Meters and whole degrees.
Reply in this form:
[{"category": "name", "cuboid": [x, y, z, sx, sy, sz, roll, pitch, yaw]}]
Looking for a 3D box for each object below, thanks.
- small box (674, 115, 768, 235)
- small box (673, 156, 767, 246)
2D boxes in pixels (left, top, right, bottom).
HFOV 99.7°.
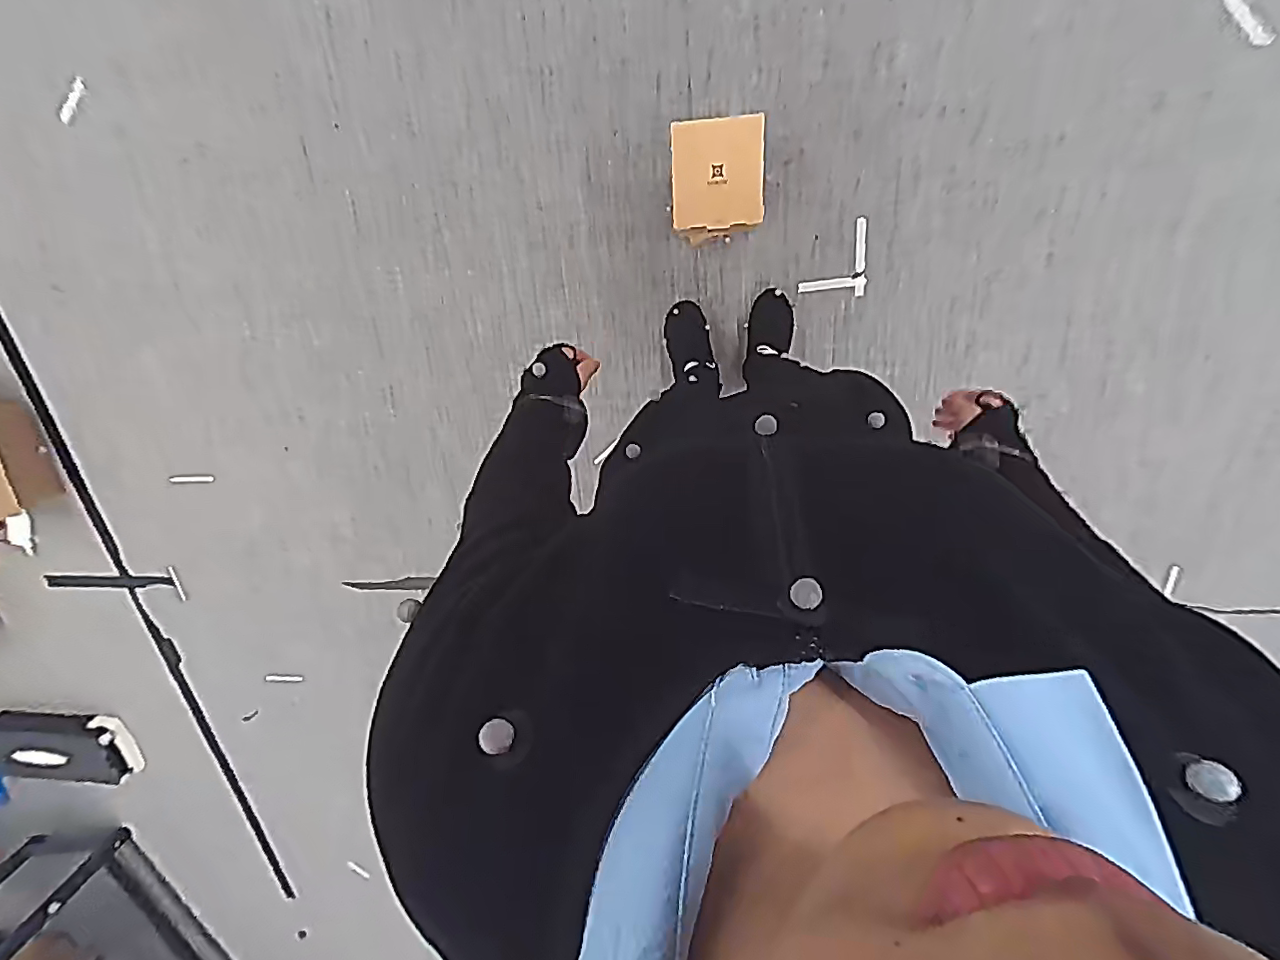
[{"category": "small box", "cuboid": [0.150, -0.576, 1.042, 0.168, 0.176, 0.179, -1, 112, 7]}, {"category": "small box", "cuboid": [0.174, -0.631, 1.193, 0.168, 0.176, 0.179, -13, 110, 12]}]
